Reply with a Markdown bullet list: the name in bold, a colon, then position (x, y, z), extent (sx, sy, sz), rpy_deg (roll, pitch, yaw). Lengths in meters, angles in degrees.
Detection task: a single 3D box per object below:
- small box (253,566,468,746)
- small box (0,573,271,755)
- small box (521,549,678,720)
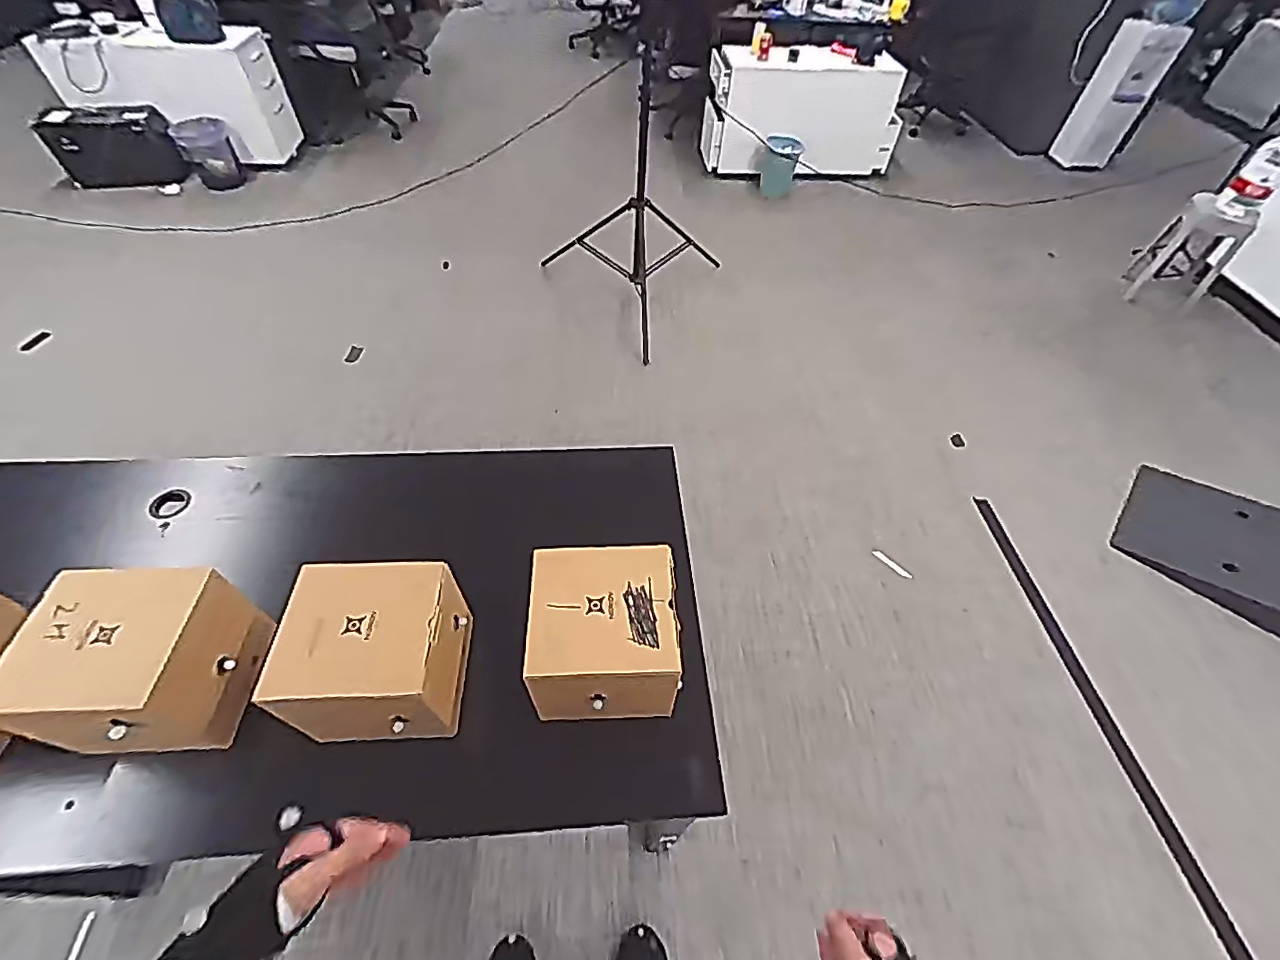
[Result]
- **small box**: position (-0.326, 0.223, 0.680), extent (0.179, 0.176, 0.168), rpy_deg (-2, 50, -4)
- **small box**: position (-0.599, 0.227, 0.660), extent (0.179, 0.176, 0.168), rpy_deg (-1, 51, -4)
- **small box**: position (-0.049, 0.204, 0.706), extent (0.179, 0.176, 0.168), rpy_deg (-1, 51, -2)
